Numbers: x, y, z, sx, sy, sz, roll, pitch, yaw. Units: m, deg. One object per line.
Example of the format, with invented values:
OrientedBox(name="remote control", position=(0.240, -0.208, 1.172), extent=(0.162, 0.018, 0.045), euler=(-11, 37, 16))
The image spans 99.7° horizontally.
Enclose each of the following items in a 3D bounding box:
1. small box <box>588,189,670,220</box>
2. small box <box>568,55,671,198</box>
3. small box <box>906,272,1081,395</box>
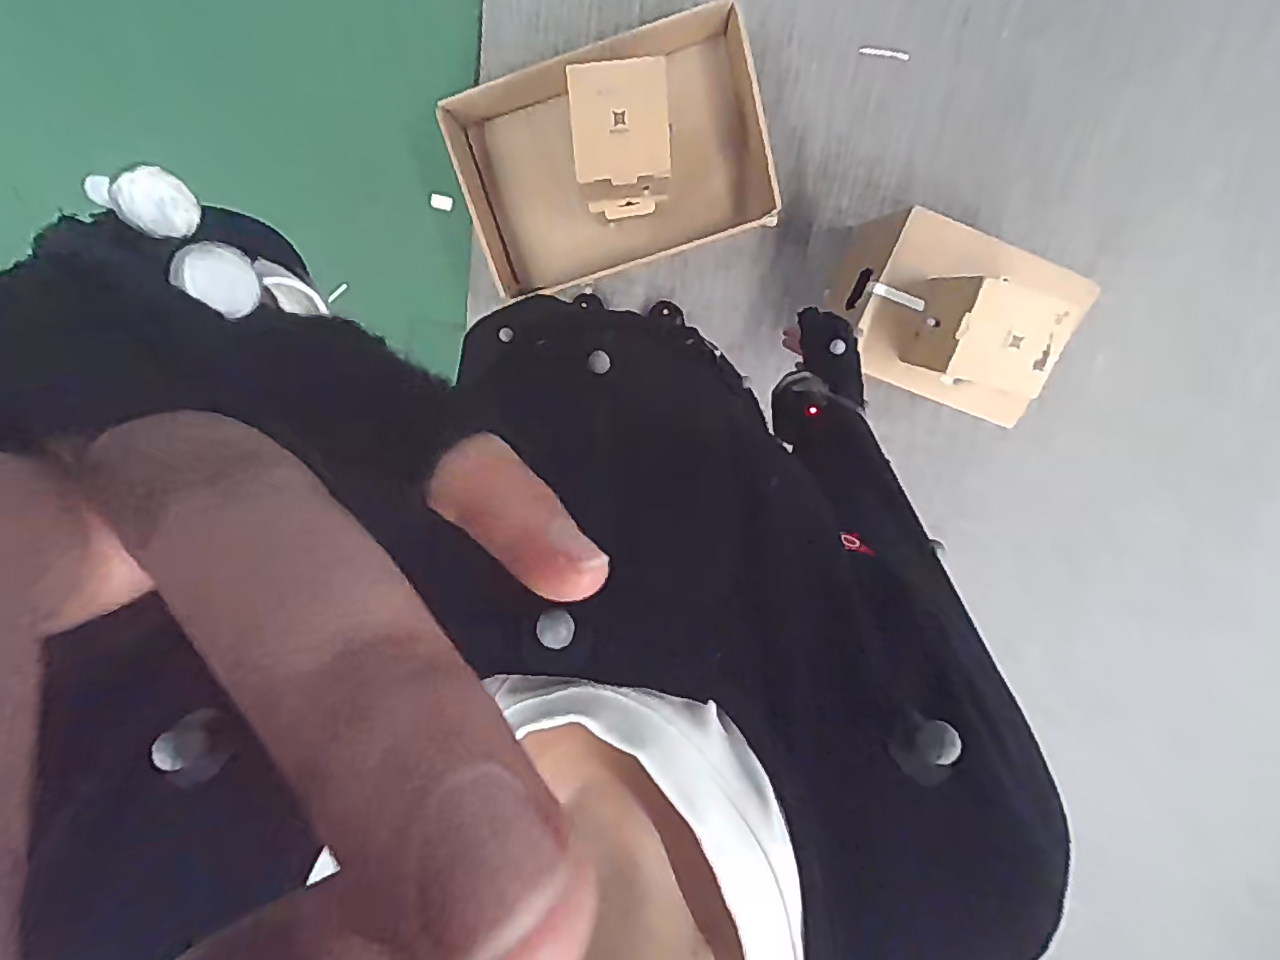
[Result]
OrientedBox(name="small box", position=(-0.027, -0.659, 1.138), extent=(0.168, 0.176, 0.179), euler=(-8, 106, 5))
OrientedBox(name="small box", position=(-0.029, -0.623, 0.979), extent=(0.168, 0.176, 0.179), euler=(-4, 106, 2))
OrientedBox(name="small box", position=(0.622, -0.267, 0.981), extent=(0.179, 0.176, 0.168), euler=(14, 109, -3))
